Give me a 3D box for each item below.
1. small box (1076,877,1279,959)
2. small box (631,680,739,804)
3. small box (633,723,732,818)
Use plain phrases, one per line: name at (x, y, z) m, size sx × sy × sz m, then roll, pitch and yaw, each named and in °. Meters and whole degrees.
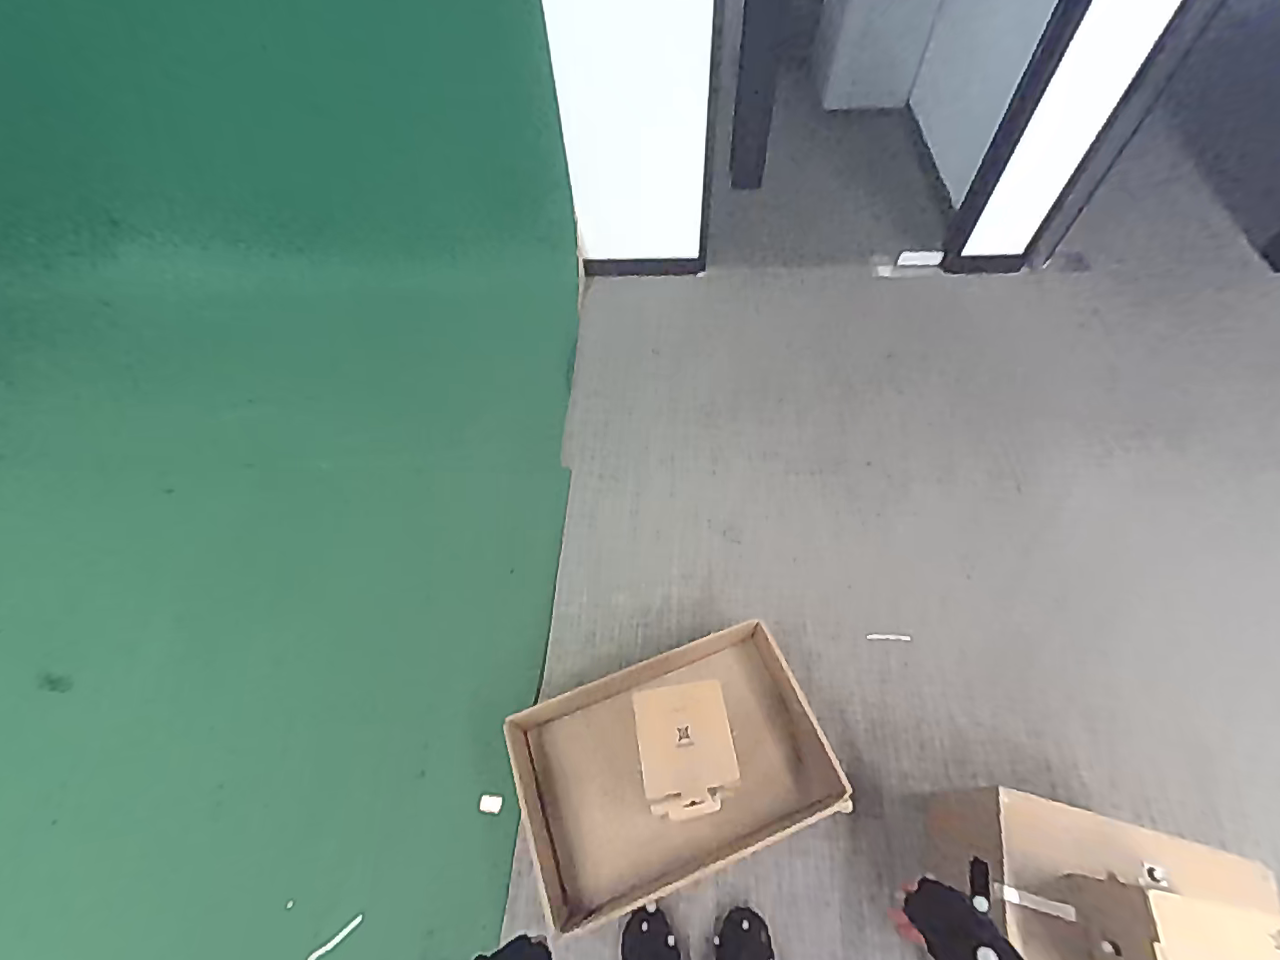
small box at (0.752, 0.670, 0.750) m, size 0.179 × 0.176 × 0.168 m, roll 7°, pitch 60°, yaw 8°
small box at (0.081, 0.497, 1.014) m, size 0.168 × 0.176 × 0.179 m, roll -9°, pitch 56°, yaw -3°
small box at (0.089, 0.596, 1.142) m, size 0.168 × 0.176 × 0.179 m, roll -13°, pitch 56°, yaw -4°
